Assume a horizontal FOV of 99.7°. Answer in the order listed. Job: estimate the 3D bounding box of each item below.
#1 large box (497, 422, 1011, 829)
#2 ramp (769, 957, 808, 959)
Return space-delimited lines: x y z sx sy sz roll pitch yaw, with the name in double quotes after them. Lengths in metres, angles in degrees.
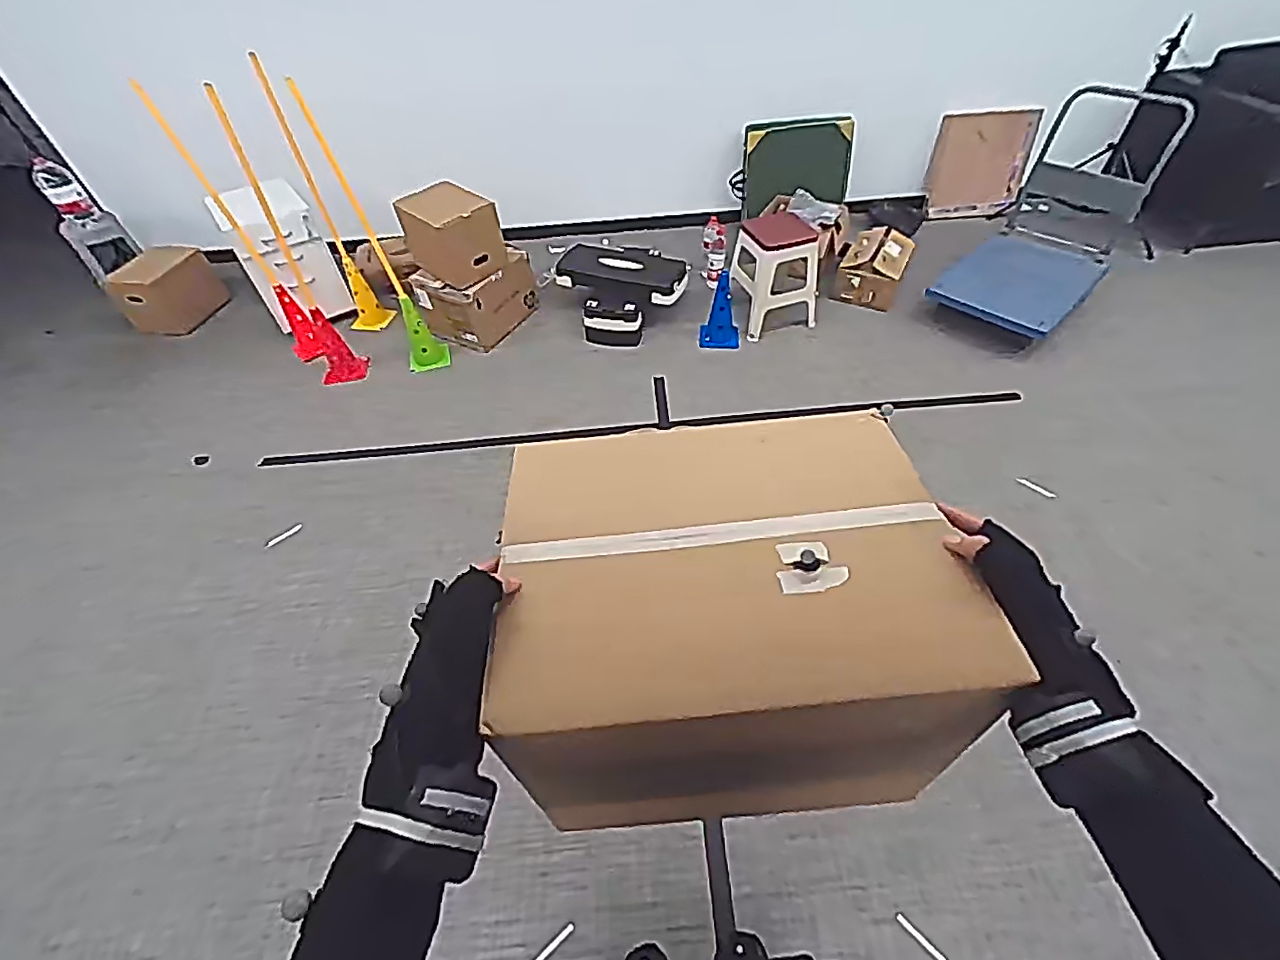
0.085 0.166 0.616 0.408 0.320 0.320 -6 46 0 "large box"
0.152 1.420 0.847 0.509 0.206 0.991 -6 49 -3 "ramp"
